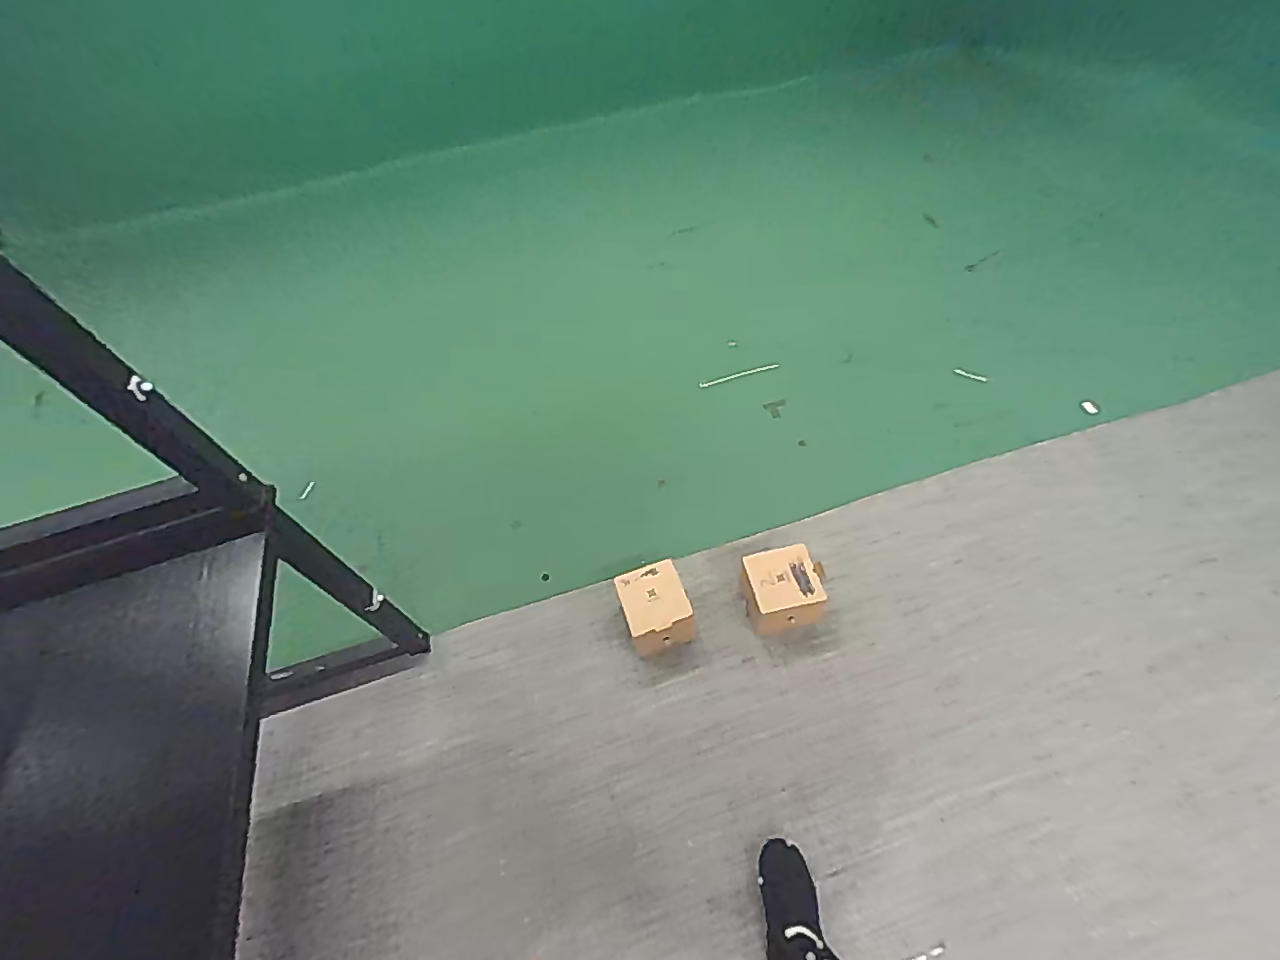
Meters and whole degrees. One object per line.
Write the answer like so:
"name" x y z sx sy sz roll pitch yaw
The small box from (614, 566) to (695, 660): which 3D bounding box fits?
"small box" 0.043 0.364 1.443 0.168 0.176 0.179 -18 54 -6
